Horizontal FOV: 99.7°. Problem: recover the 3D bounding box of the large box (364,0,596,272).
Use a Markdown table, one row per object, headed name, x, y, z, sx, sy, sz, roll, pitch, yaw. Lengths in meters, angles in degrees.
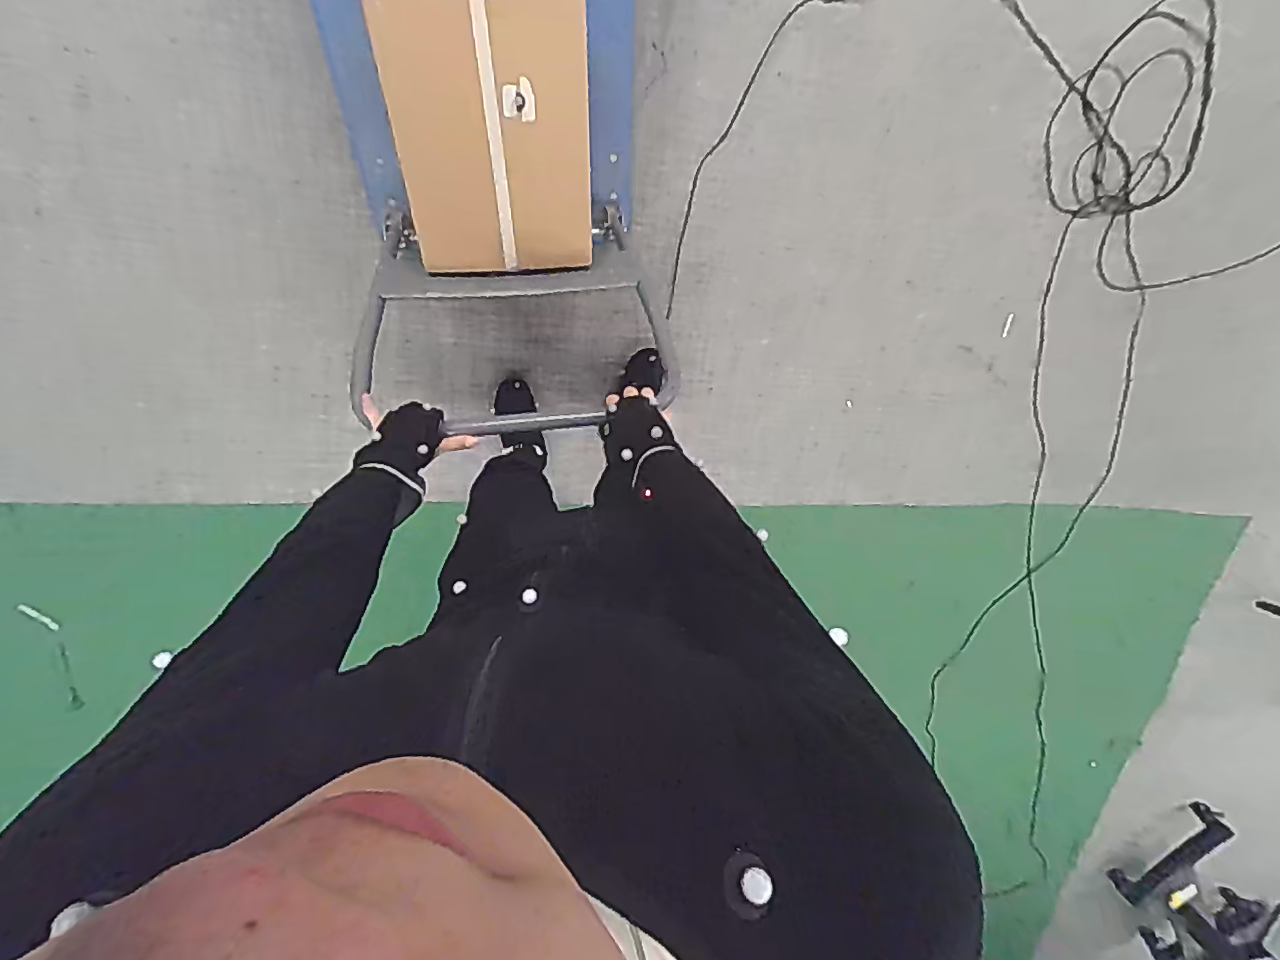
| name | x | y | z | sx | sy | sz | roll | pitch | yaw |
| --- | --- | --- | --- | --- | --- | --- | --- | --- | --- |
| large box | -0.260 | -0.645 | 1.001 | 0.320 | 0.320 | 0.408 | -6 | 132 | -9 |
